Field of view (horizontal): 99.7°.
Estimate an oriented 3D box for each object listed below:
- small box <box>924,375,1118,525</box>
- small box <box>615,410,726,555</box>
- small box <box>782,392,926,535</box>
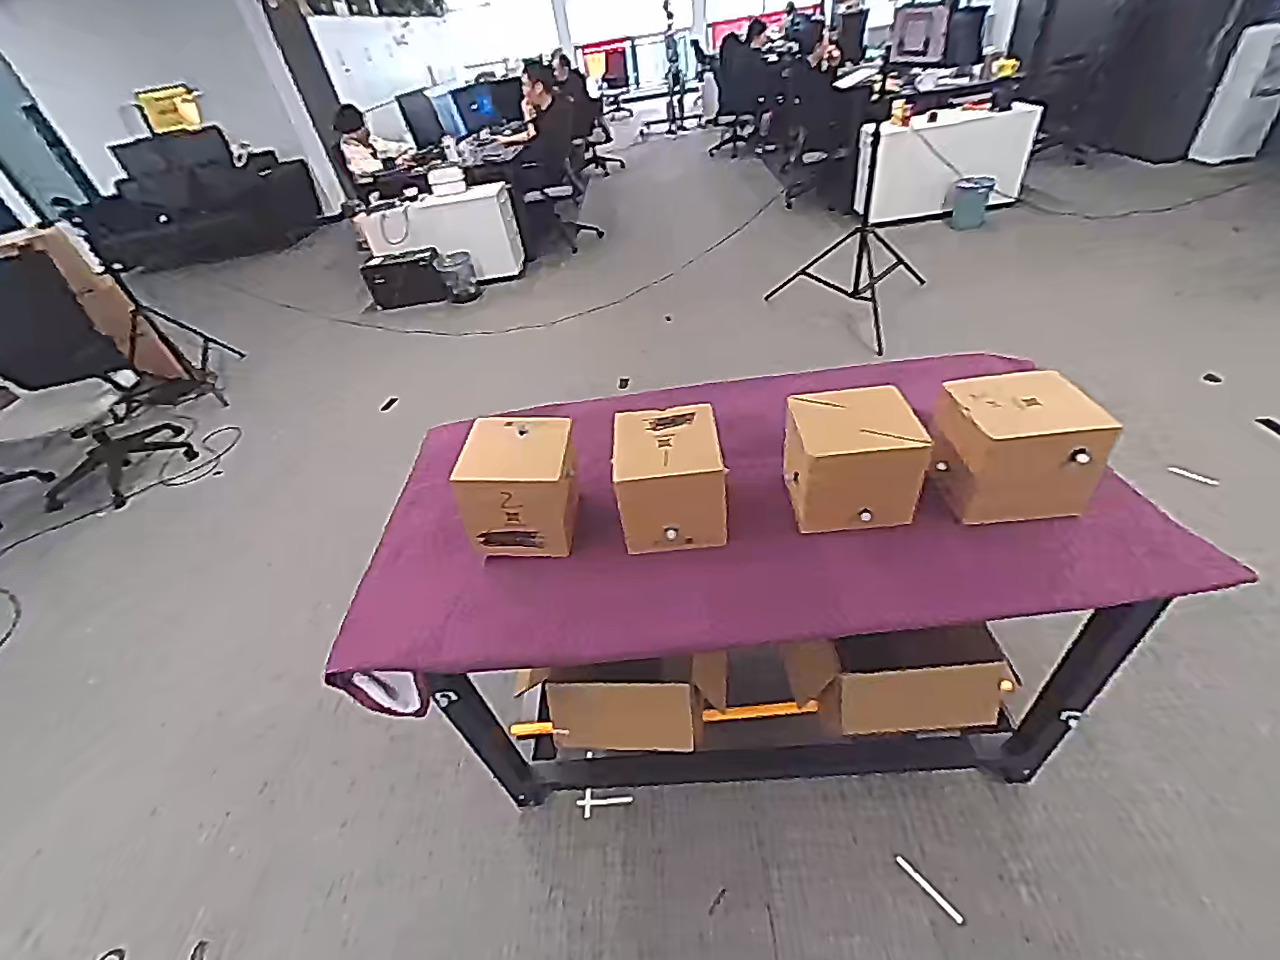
[{"bbox_3d":[0.583,-0.047,0.858,0.179,0.176,0.168,-6,38,5],"label":"small box"},{"bbox_3d":[0.053,0.004,0.915,0.168,0.176,0.179,-6,41,5],"label":"small box"},{"bbox_3d":[0.339,-0.030,0.889,0.179,0.176,0.168,-6,39,6],"label":"small box"}]
